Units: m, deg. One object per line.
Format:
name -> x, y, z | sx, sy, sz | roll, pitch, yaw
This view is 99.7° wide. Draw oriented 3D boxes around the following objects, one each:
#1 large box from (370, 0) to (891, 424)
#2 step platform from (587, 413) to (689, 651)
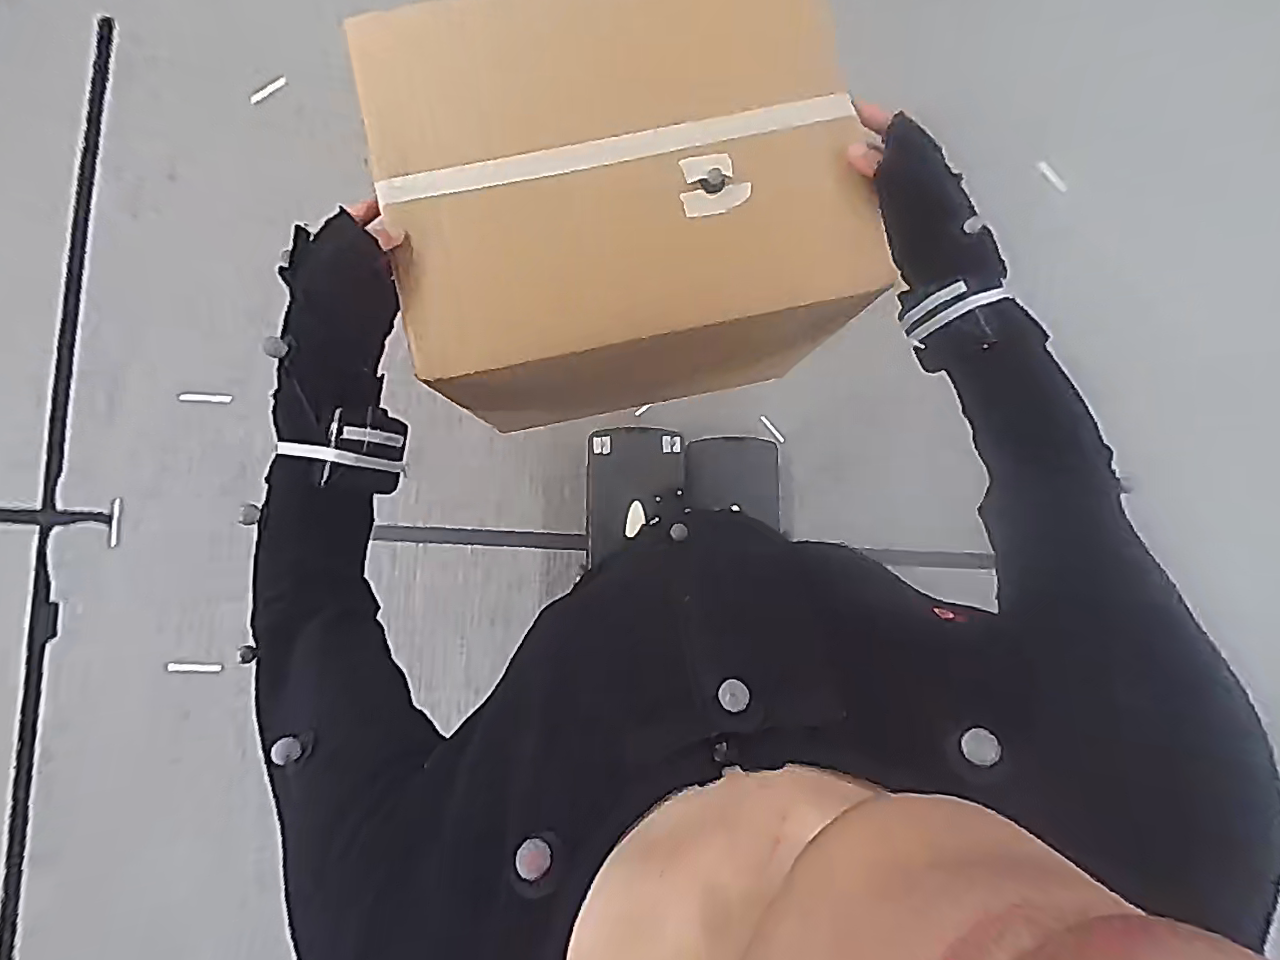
large box -> -0.014, -0.274, 0.611 | 0.408, 0.320, 0.320 | -12, 88, -4
step platform -> -0.010, 0.145, 1.587 | 0.286, 0.204, 0.684 | -1, 84, -3
